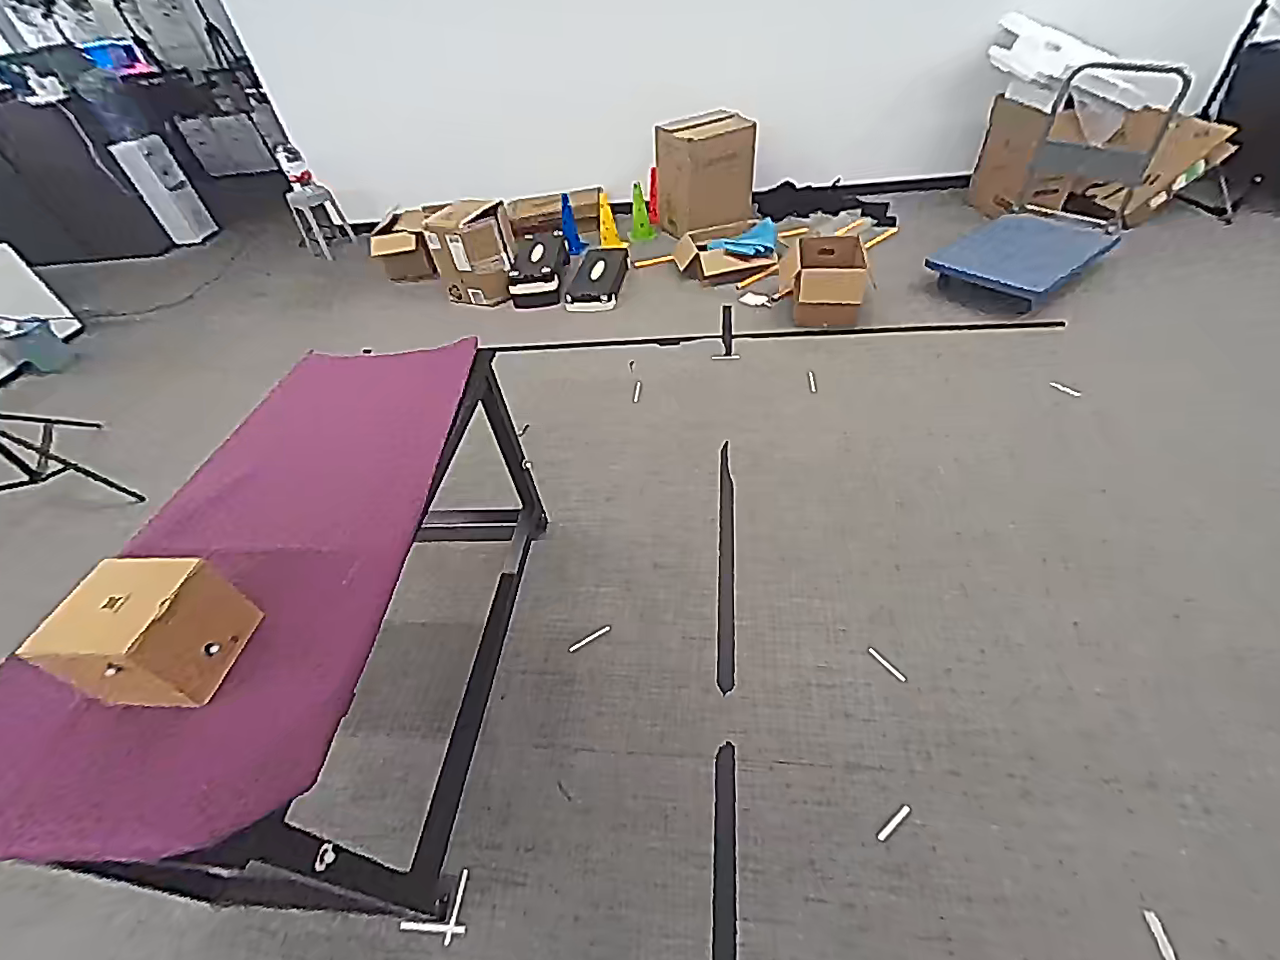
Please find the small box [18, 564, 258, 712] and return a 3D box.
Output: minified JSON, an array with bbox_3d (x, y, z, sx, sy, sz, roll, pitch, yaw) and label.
[{"bbox_3d":[-0.763,0.249,0.848,0.179,0.176,0.168,-2,44,6],"label":"small box"}]
